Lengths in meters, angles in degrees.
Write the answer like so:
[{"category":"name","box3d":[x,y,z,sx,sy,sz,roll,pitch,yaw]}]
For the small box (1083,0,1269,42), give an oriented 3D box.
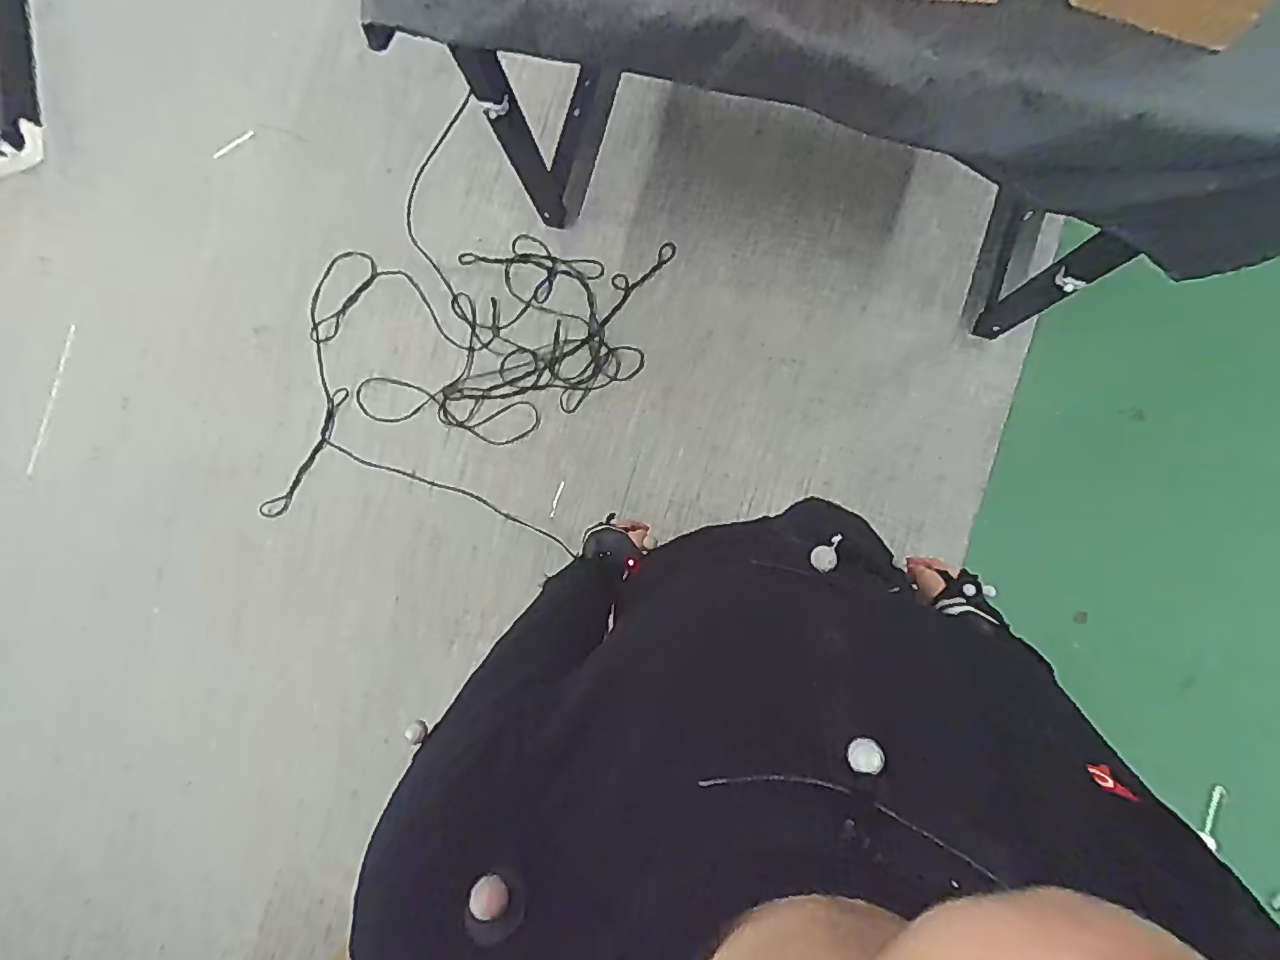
[{"category":"small box","box3d":[0.595,-0.592,0.535,0.179,0.176,0.168,24,89,6]}]
